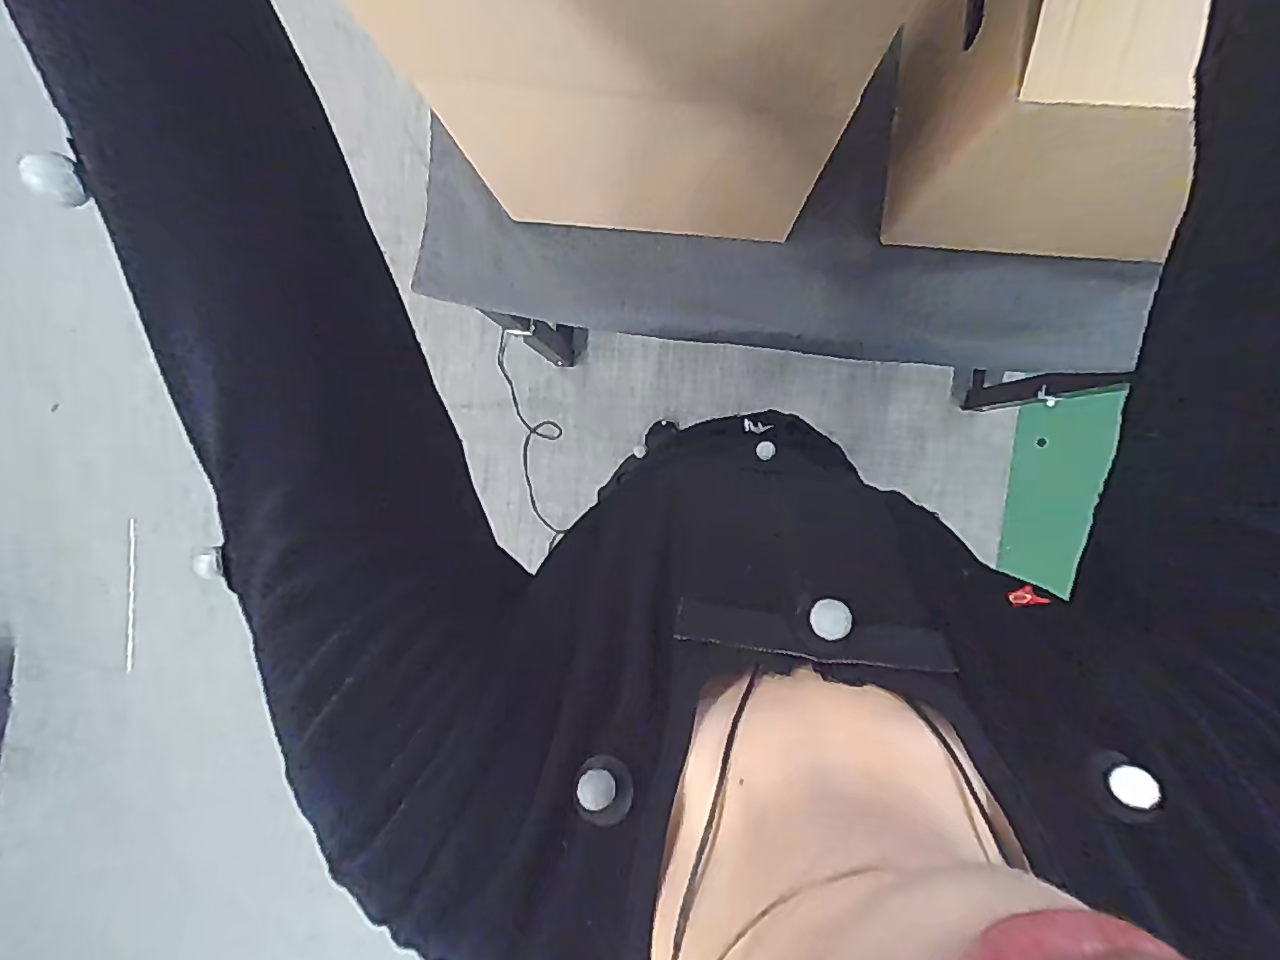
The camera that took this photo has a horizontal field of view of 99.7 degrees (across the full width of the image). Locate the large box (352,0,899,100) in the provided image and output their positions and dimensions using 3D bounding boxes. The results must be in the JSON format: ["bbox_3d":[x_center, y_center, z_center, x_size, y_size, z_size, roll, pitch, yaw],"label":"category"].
[{"bbox_3d":[-0.012,-0.481,0.313,0.408,0.320,0.320,6,97,1],"label":"large box"}]
